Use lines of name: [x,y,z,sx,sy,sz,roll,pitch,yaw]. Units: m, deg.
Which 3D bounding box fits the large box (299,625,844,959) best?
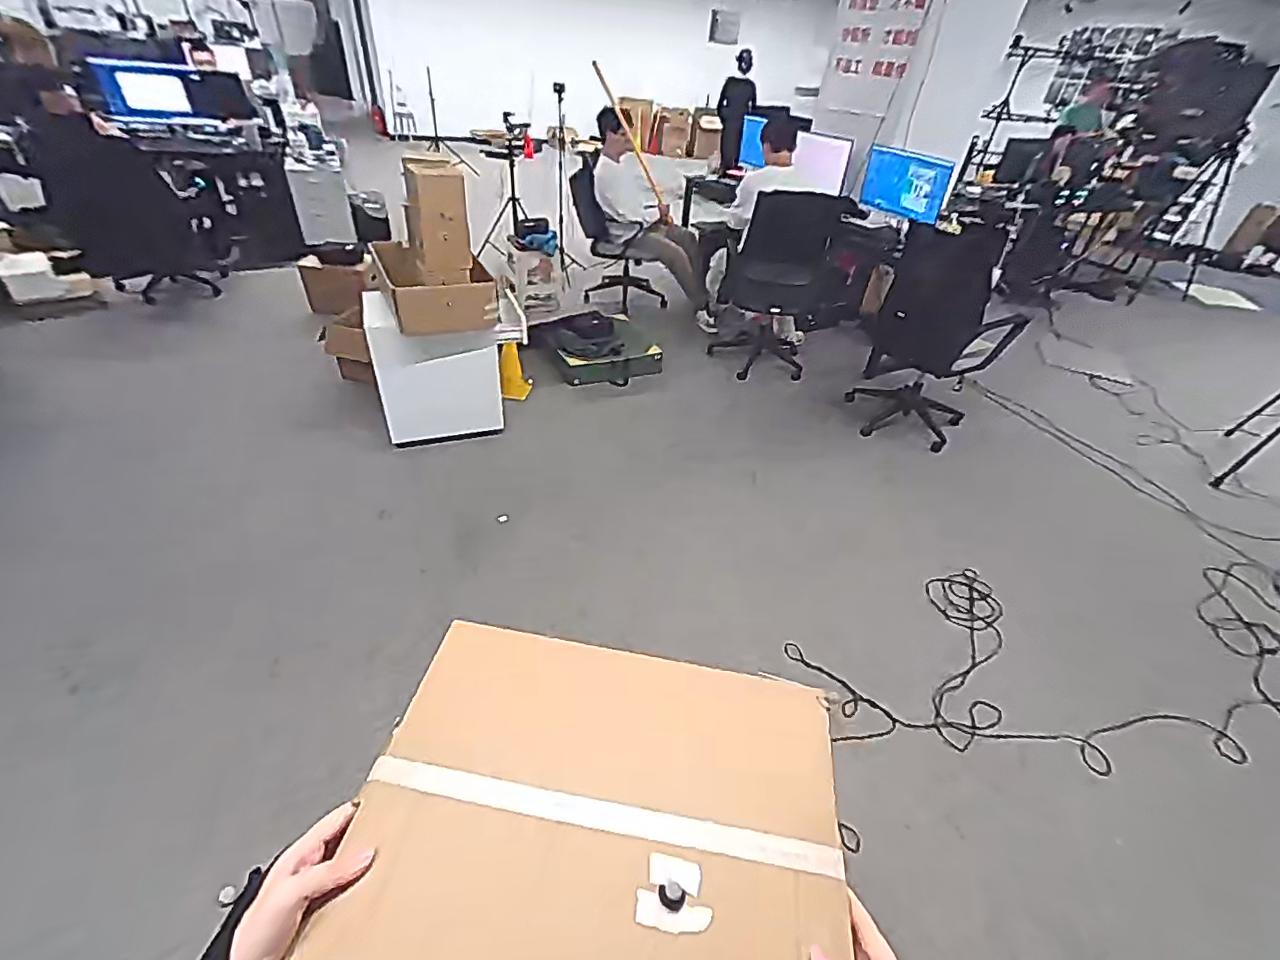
large box: [-0.043,0.398,0.572,0.408,0.320,0.320,10,42,4]
